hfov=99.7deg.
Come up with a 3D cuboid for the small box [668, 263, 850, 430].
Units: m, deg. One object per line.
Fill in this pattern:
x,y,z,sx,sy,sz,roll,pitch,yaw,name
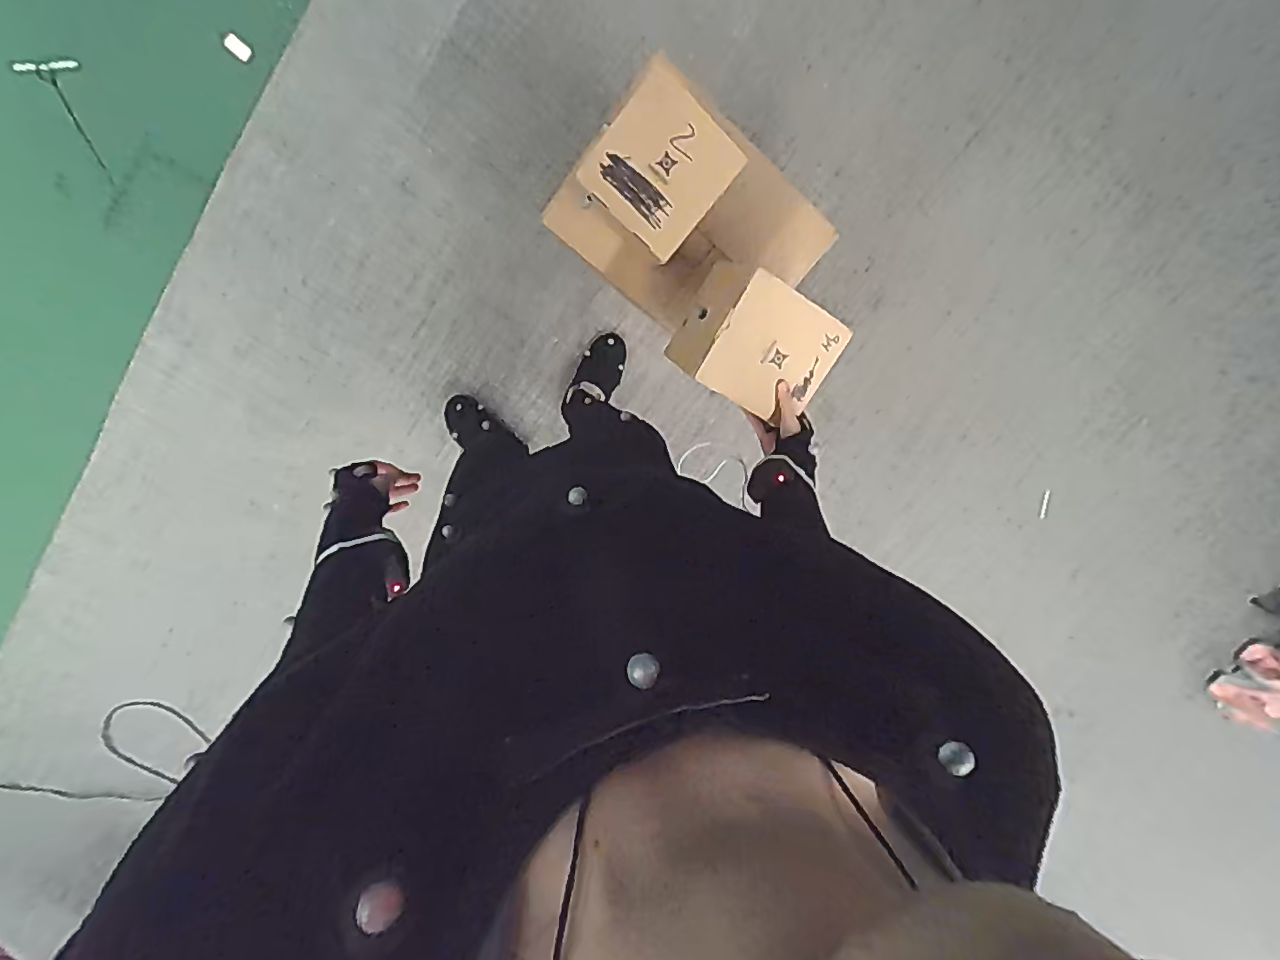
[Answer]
0.163,-0.203,0.805,0.179,0.176,0.168,26,107,-20,small box
